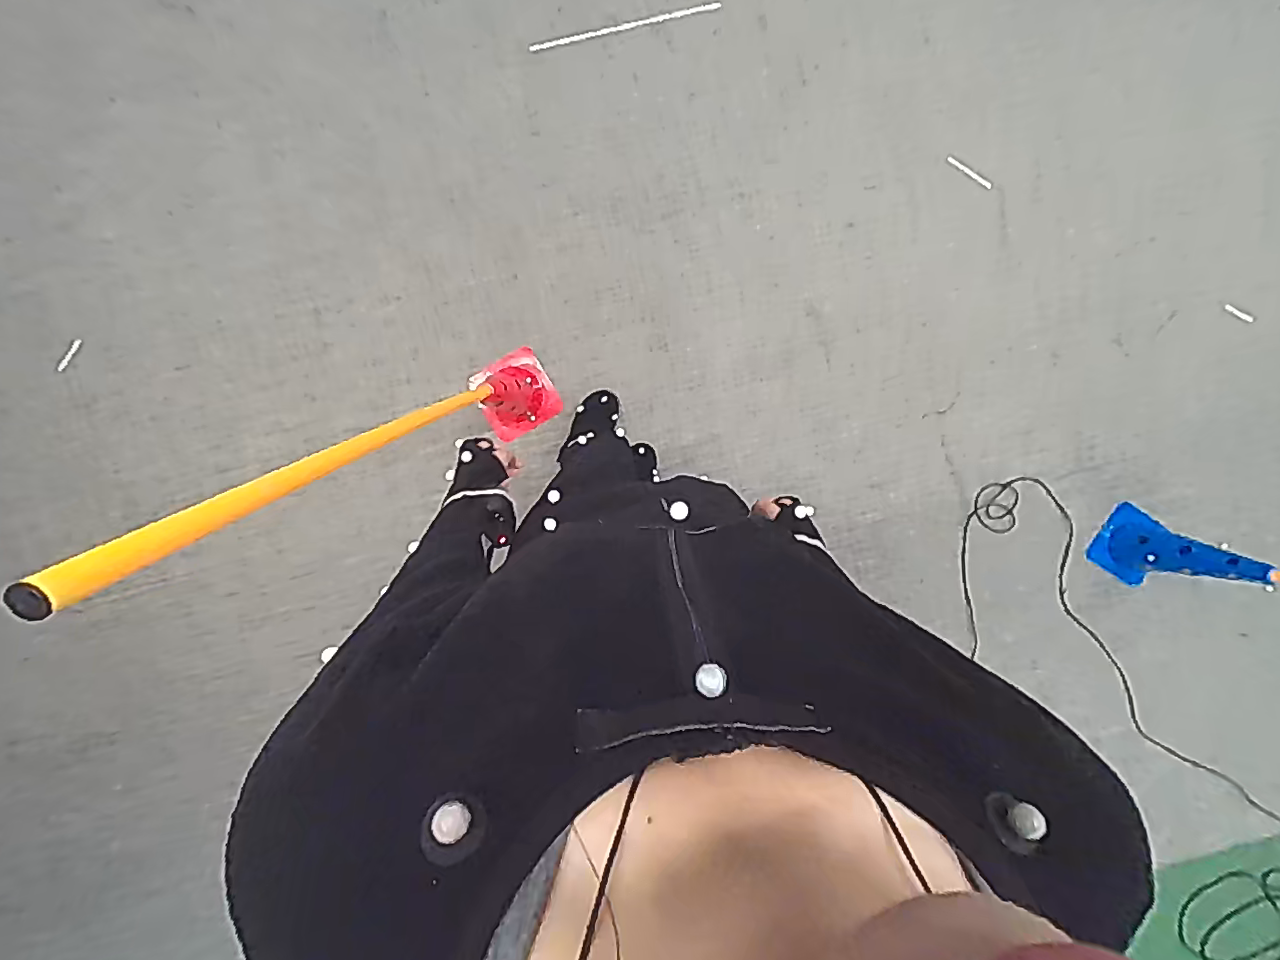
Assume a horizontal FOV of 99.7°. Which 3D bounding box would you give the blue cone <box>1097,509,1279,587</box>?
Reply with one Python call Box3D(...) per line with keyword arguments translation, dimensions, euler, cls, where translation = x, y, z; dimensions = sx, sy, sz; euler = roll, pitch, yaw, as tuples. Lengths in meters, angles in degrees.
Box3D(translation=(1.442, 0.208, 1.404), dimensions=(0.192, 0.380, 0.193), euler=(30, 92, -5), cls="blue cone")
